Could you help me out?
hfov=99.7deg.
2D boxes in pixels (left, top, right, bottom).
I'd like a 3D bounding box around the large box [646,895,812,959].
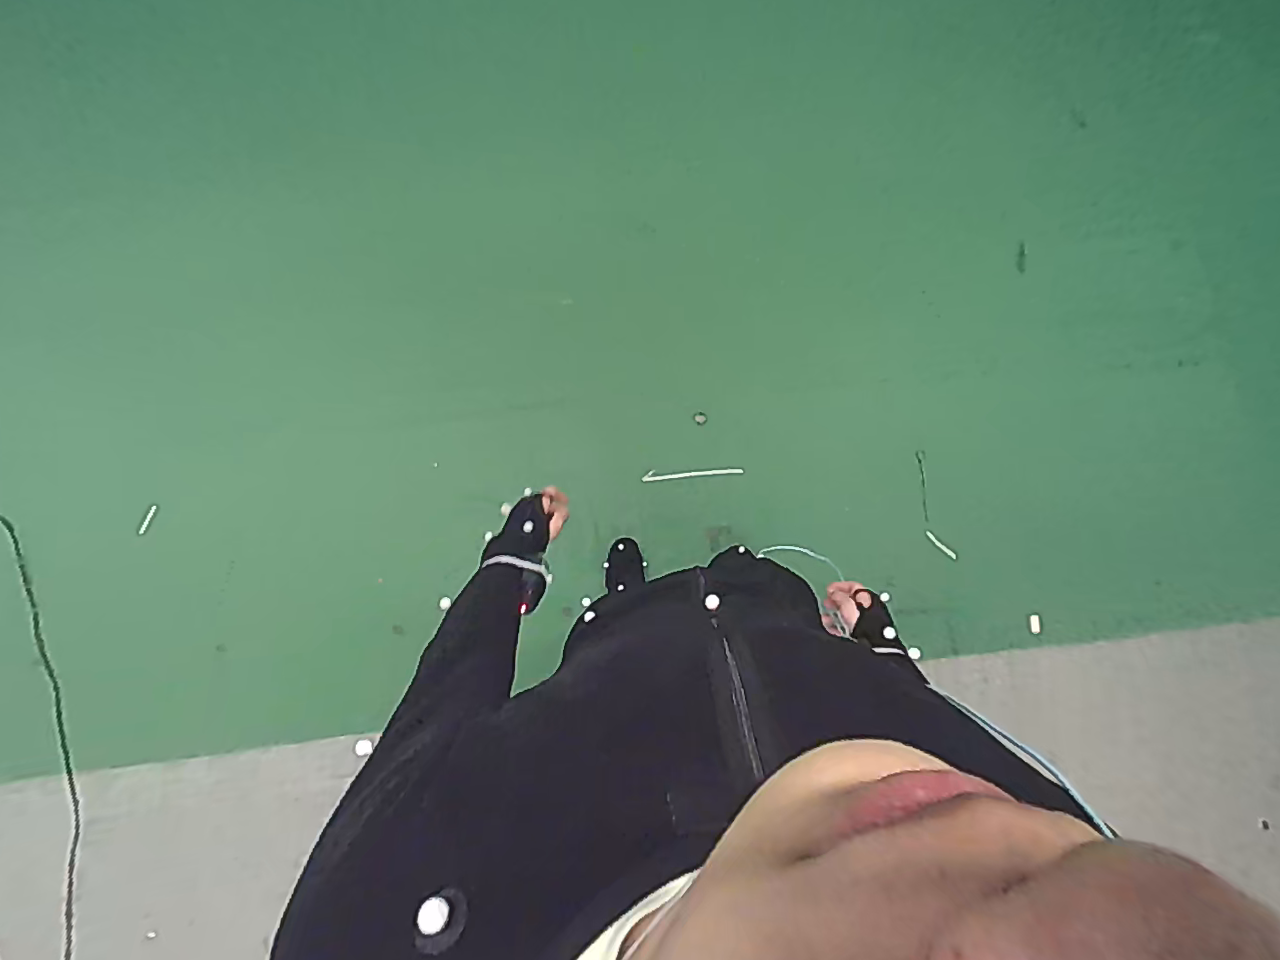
[{"bbox_3d":[0.219,1.331,1.352,0.408,0.320,0.320,16,82,-2],"label":"large box"}]
